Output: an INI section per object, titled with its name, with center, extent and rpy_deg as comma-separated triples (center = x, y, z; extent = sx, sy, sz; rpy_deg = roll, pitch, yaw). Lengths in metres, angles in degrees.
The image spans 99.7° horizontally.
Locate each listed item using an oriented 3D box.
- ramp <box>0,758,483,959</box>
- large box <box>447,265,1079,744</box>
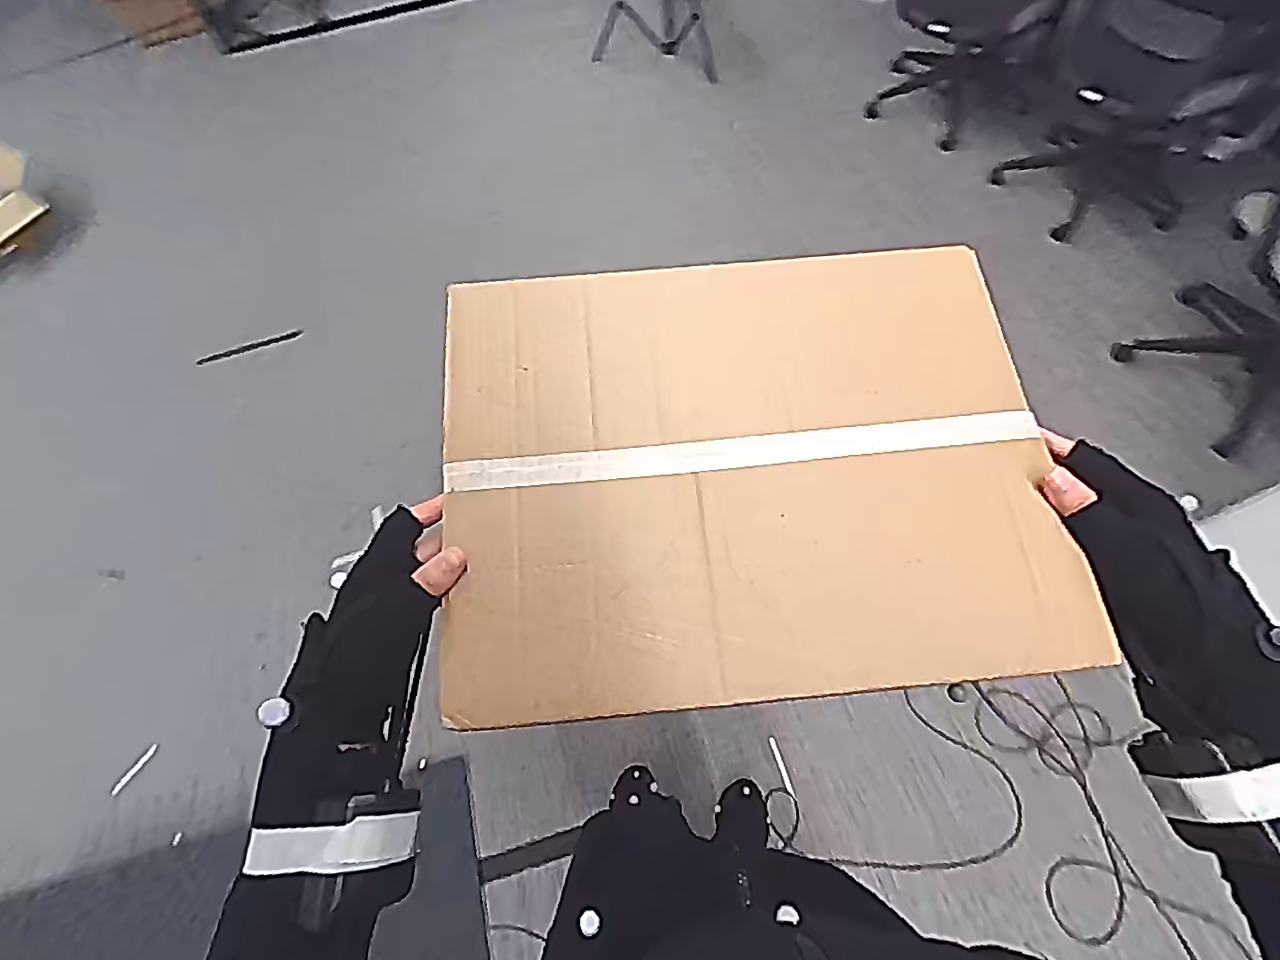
[ramp]
center = -0.848, 0.968, 1.089
extent = 0.991, 0.206, 0.509
rpy_deg = -17, 61, -6
[large box]
center = 0.066, 0.039, 0.519
extent = 0.408, 0.320, 0.320
rpy_deg = -6, 70, -3
